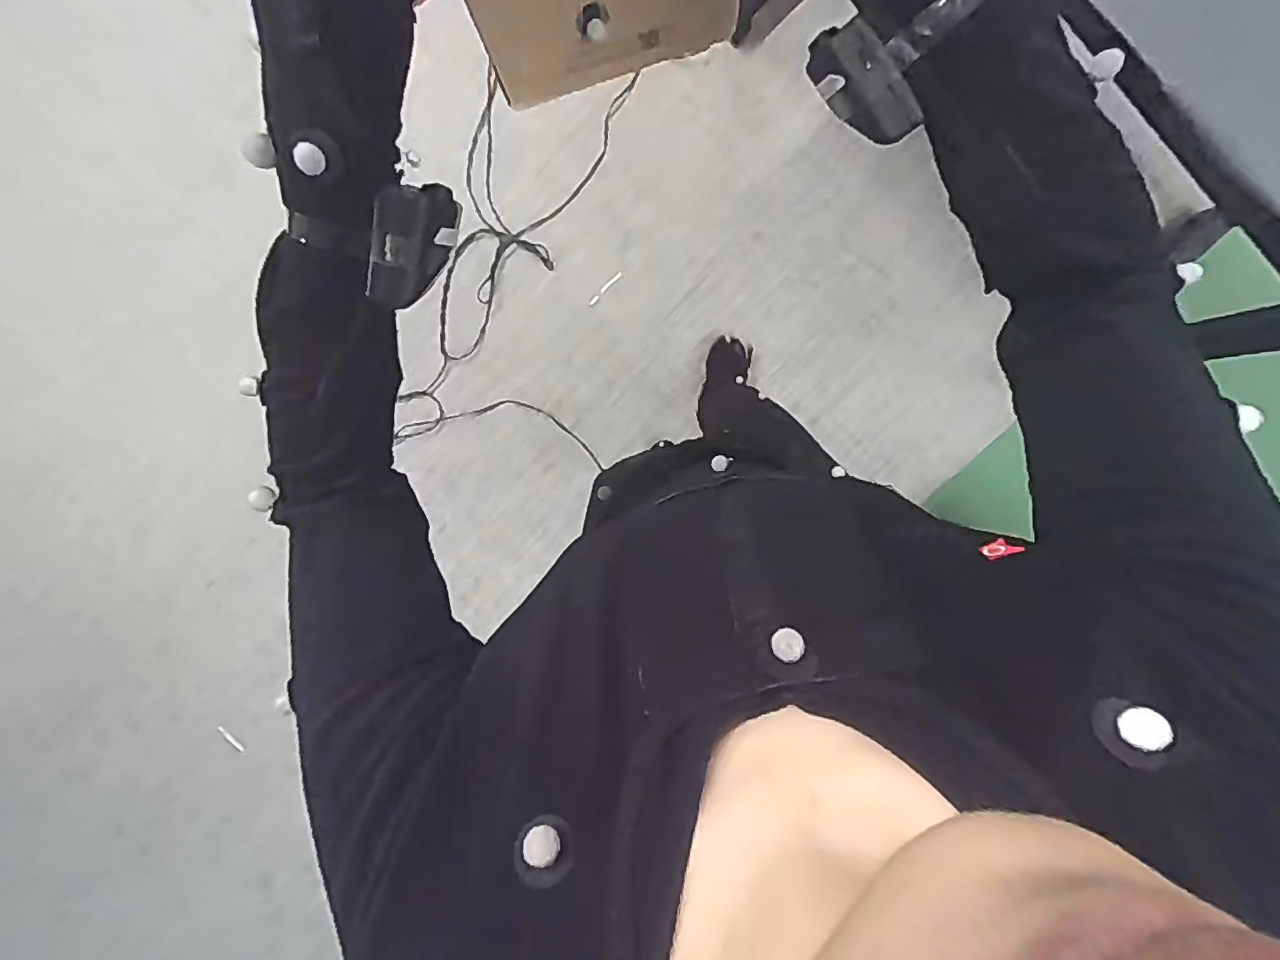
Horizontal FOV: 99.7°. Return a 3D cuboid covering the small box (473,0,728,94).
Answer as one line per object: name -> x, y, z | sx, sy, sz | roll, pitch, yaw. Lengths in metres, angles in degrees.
small box -> -0.041, -0.378, 0.308 | 0.168, 0.176, 0.179 | -16, 91, 3
